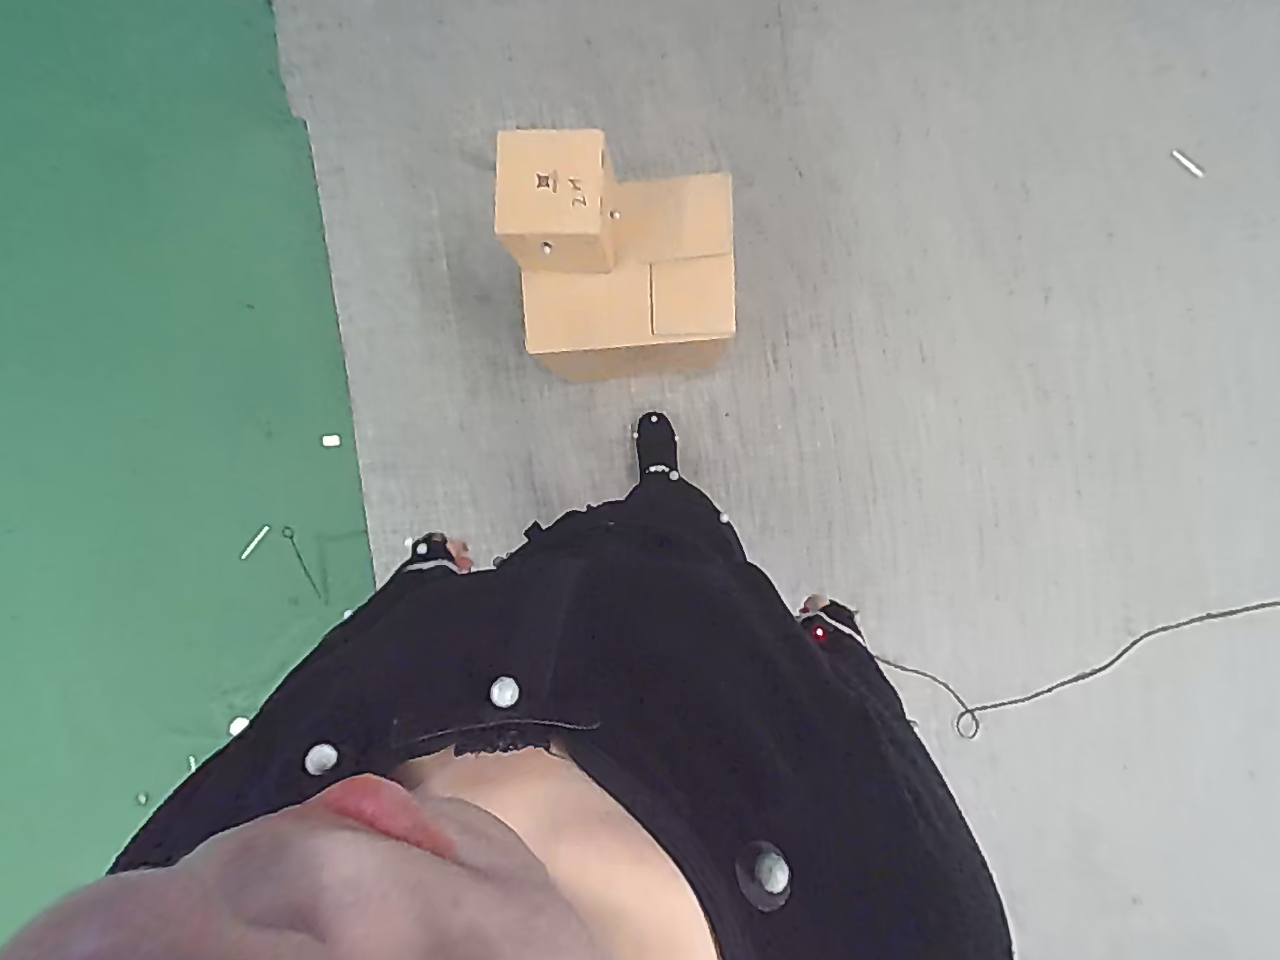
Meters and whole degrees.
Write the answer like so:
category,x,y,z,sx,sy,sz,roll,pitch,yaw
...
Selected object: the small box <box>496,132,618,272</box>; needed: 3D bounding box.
category,x,y,z,sx,sy,sz,roll,pitch,yaw
small box,-0.138,-0.474,0.944,0.179,0.176,0.168,2,92,3
